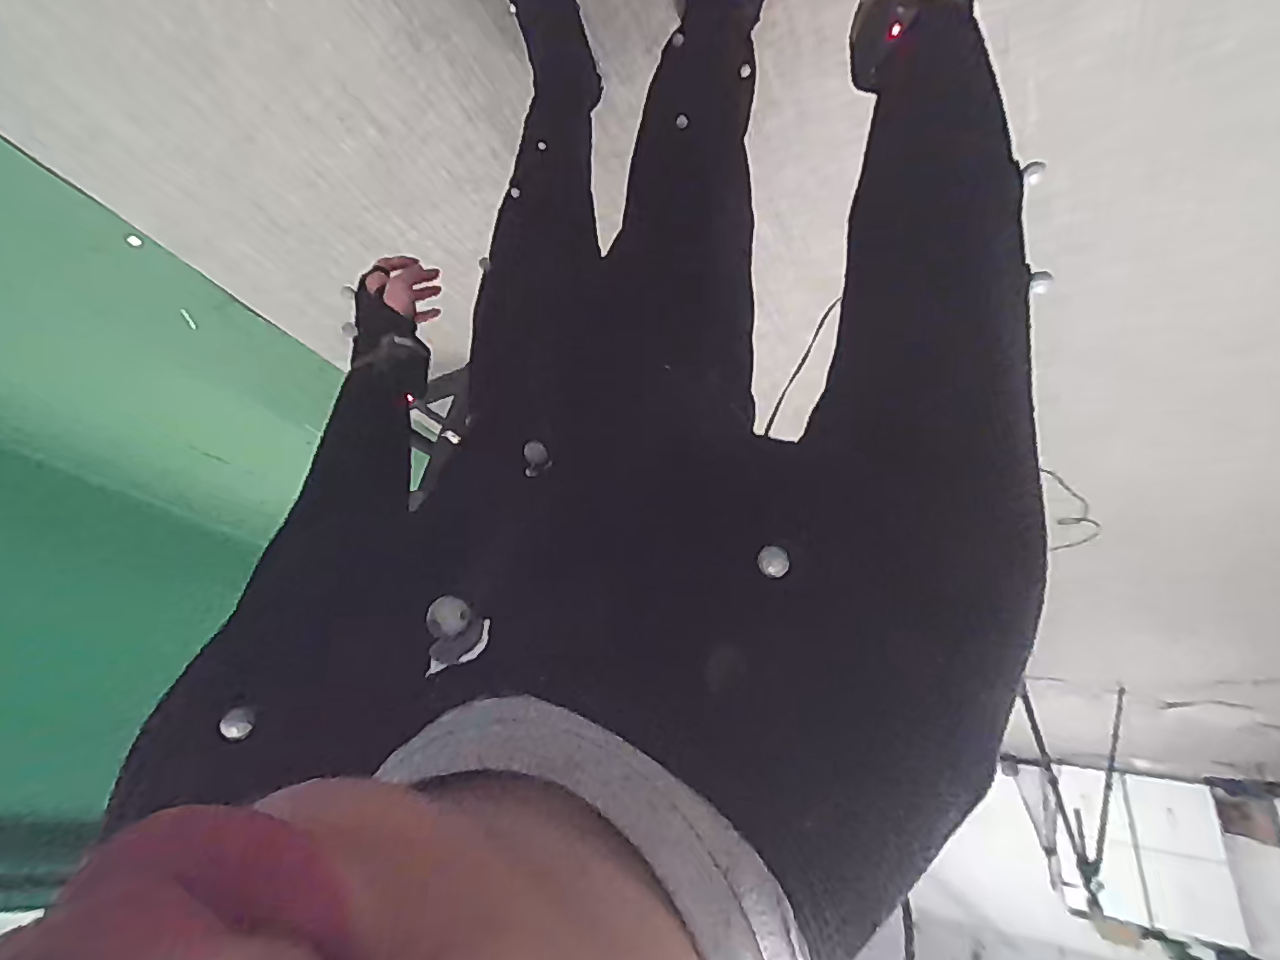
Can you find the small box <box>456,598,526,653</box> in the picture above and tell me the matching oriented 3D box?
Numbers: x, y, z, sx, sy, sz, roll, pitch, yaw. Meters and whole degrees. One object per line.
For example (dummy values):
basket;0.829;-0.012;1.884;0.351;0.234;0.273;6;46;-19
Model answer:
small box;-0.575;0.565;2.109;0.168;0.176;0.179;-7;147;32
